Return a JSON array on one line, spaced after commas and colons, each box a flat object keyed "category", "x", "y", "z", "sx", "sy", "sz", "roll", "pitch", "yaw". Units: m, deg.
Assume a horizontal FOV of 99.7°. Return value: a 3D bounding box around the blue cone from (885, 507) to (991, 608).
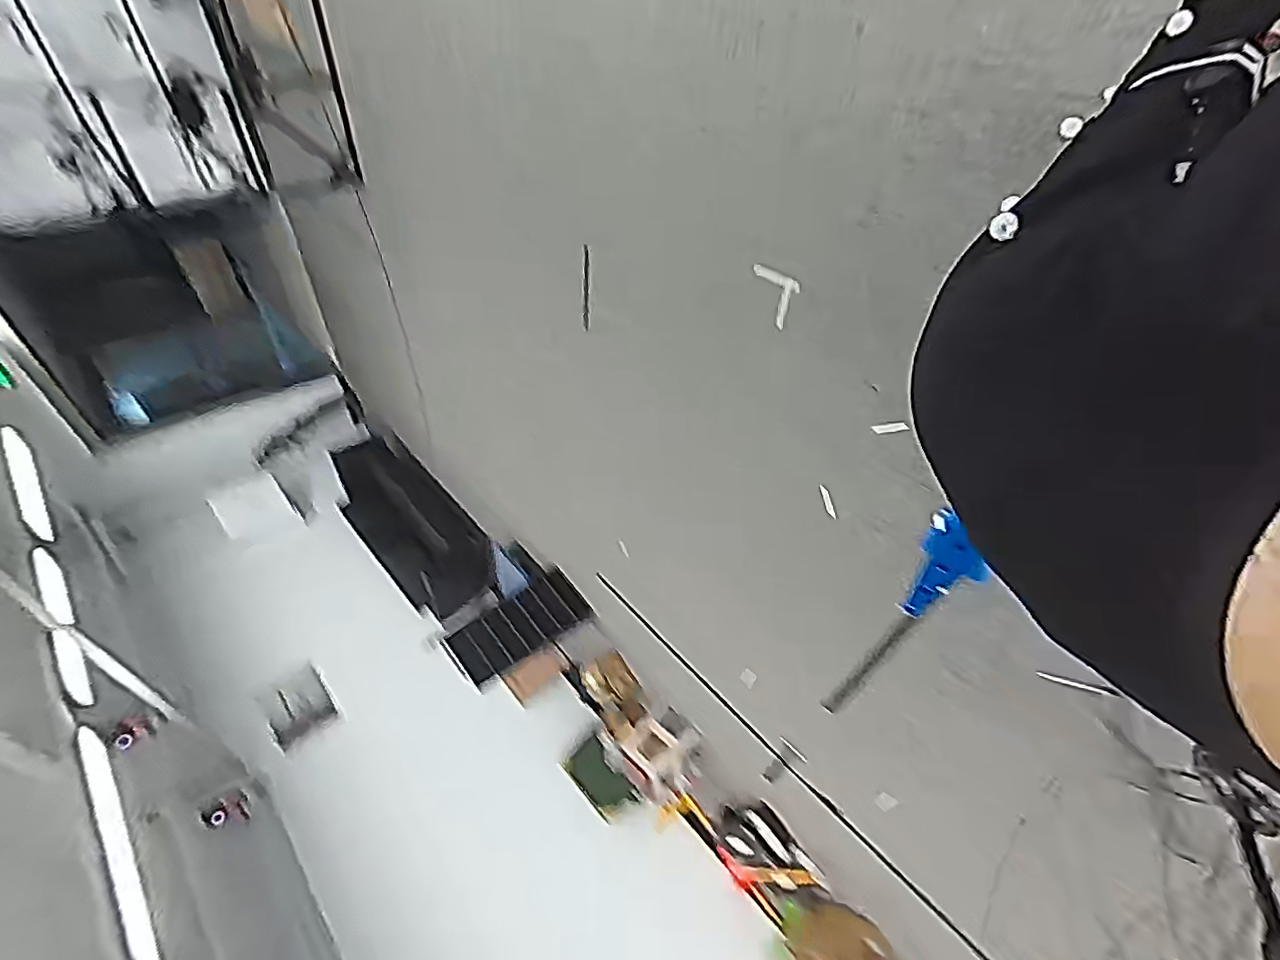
[{"category": "blue cone", "x": 0.821, "y": 0.259, "z": 1.551, "sx": 0.192, "sy": 0.380, "sz": 0.193, "roll": 39, "pitch": 142, "yaw": 31}]
